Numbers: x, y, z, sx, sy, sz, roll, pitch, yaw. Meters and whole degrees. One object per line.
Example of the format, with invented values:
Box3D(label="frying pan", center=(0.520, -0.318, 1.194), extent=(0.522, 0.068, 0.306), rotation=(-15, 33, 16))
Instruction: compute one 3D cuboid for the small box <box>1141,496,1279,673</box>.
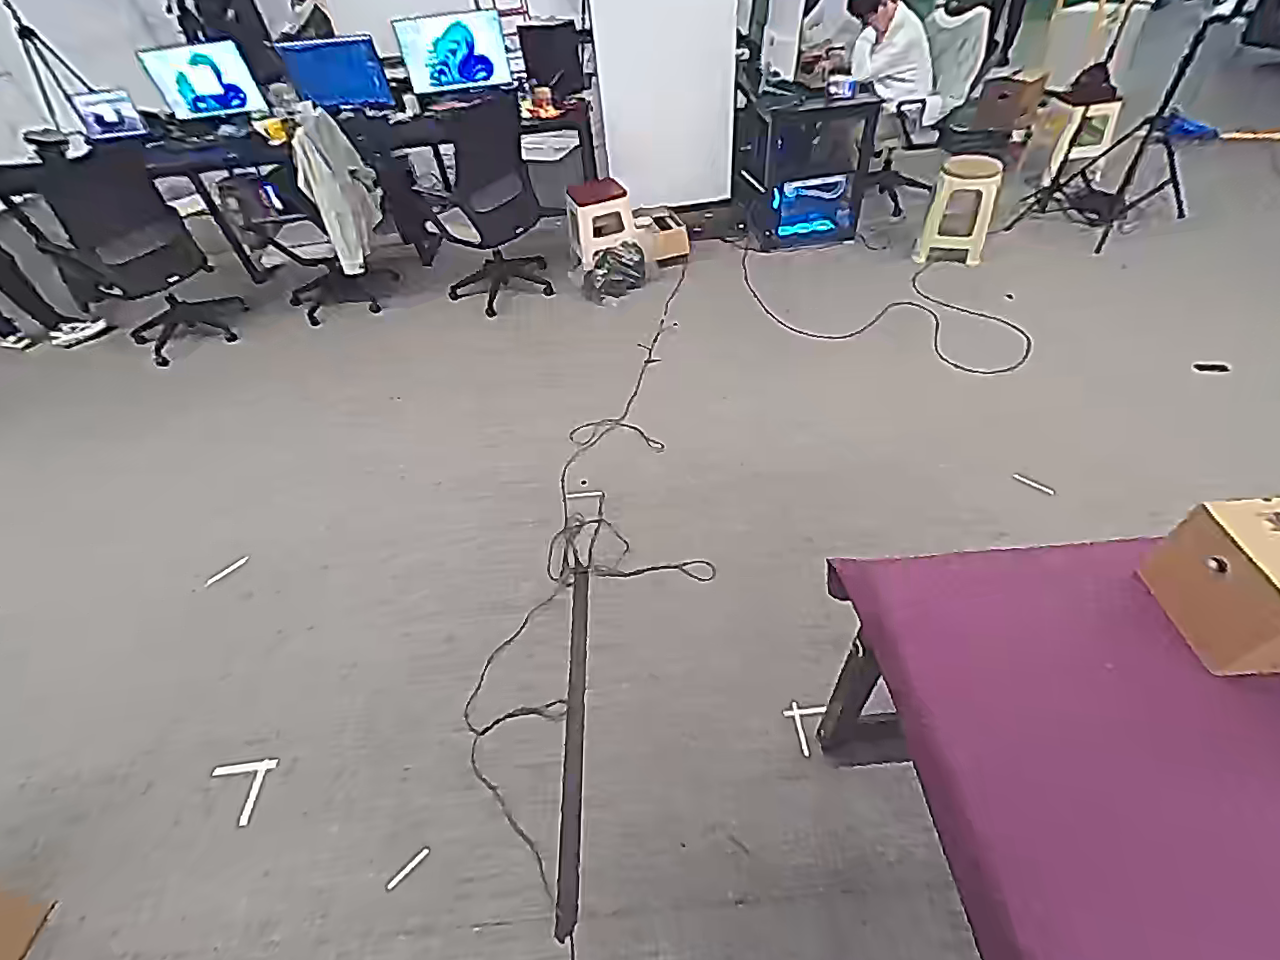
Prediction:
Box3D(label="small box", center=(0.851, 0.141, 0.732), extent=(0.168, 0.176, 0.179), rotation=(-5, 48, 5))
